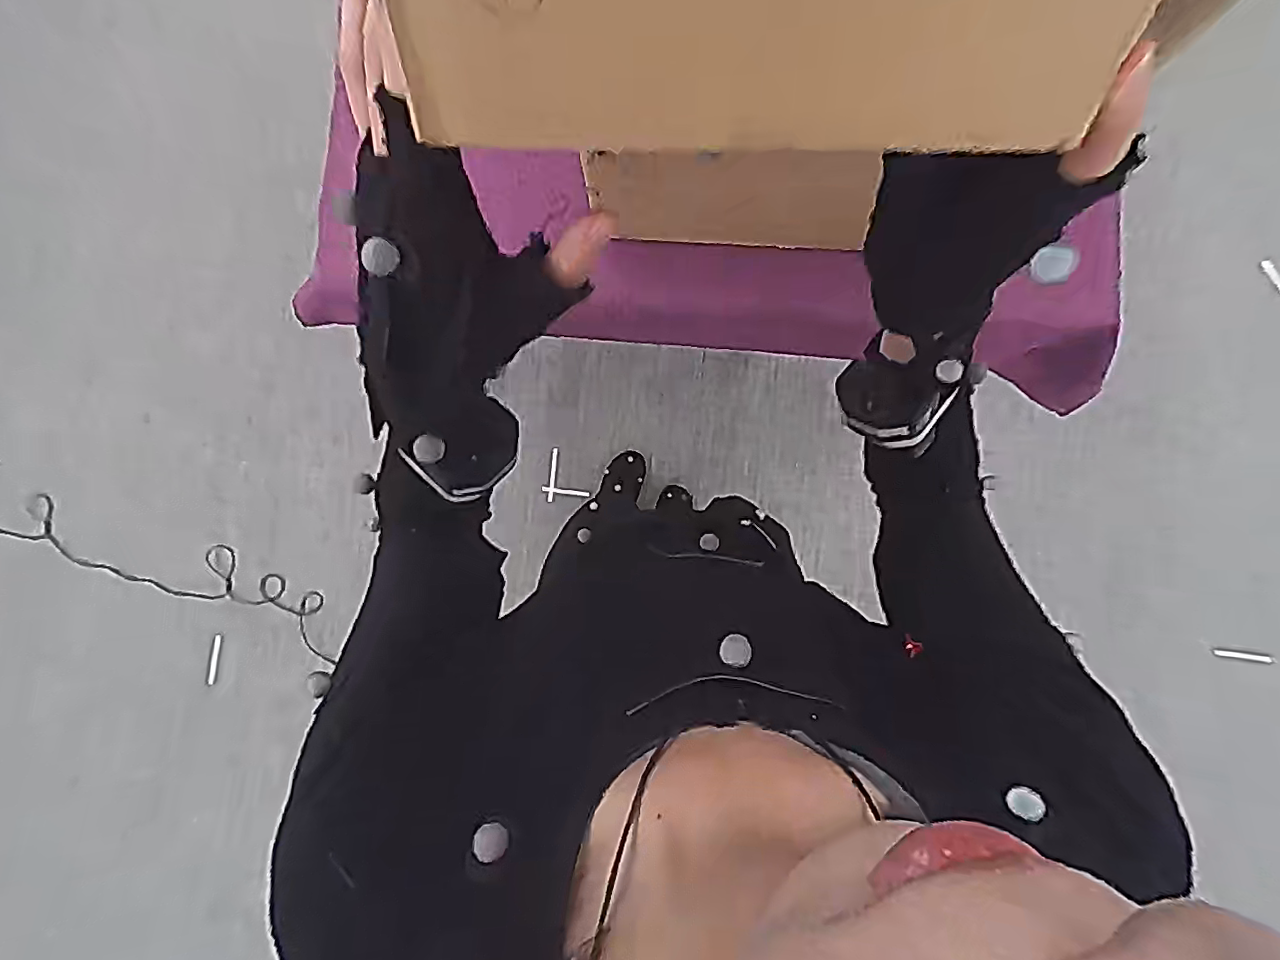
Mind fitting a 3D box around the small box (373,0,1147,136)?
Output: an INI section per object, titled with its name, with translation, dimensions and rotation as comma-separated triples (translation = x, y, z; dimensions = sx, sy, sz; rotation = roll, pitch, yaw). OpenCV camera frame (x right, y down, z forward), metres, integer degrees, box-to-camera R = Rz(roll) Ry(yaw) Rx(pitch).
[small box]
translation = 0.026, -0.204, 0.130
dimensions = 0.179, 0.168, 0.176
rotation = -2, 51, -1
